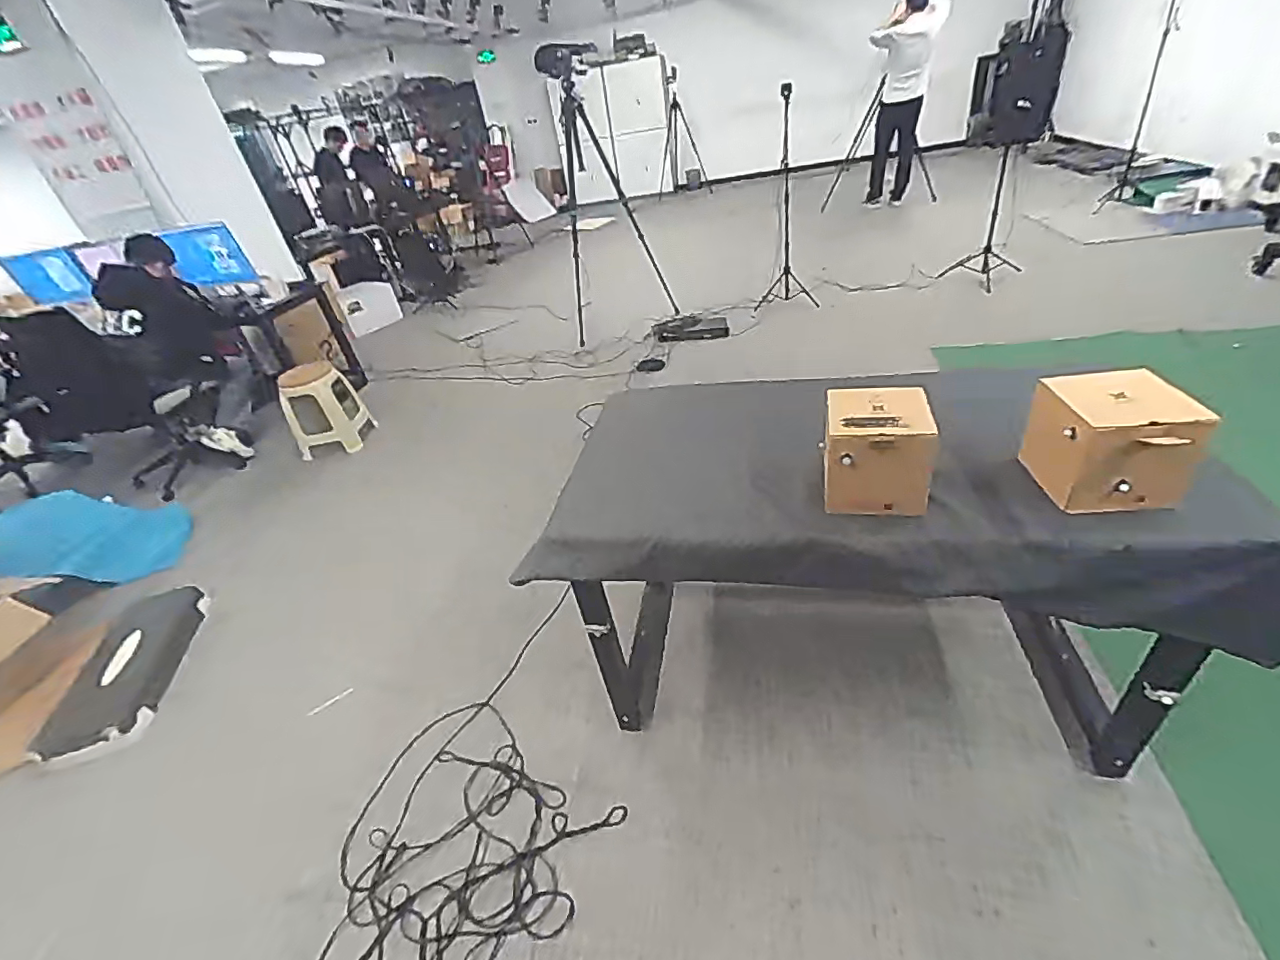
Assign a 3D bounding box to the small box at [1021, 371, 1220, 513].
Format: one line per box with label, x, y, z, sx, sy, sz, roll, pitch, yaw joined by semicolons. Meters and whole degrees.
small box;0.780;-0.064;0.907;0.168;0.176;0.179;-4;35;10
